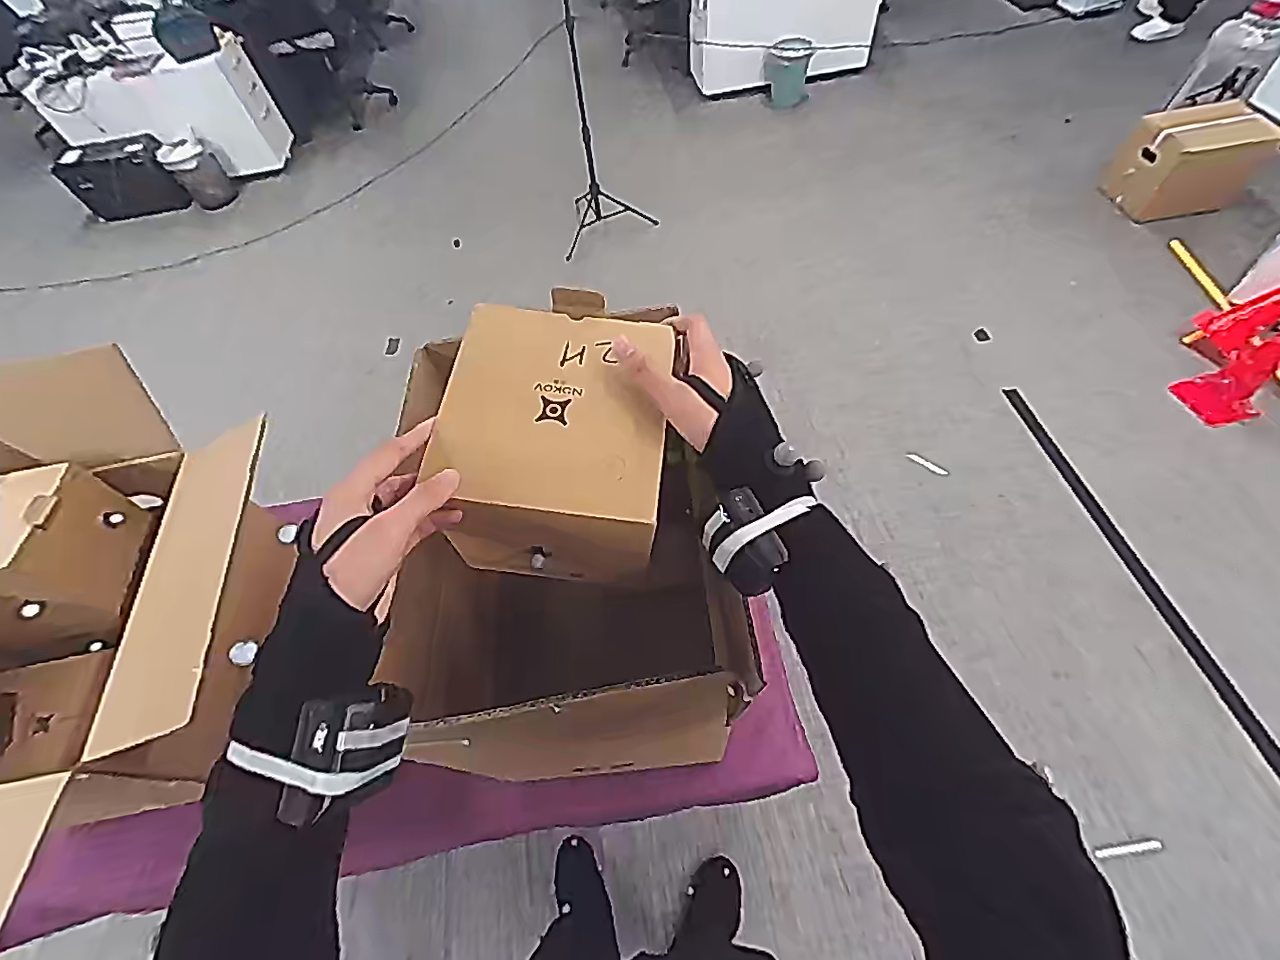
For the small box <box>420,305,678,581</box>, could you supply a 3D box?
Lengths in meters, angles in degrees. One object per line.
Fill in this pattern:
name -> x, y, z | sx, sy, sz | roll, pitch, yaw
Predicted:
small box -> -0.065, -0.021, 0.479 | 0.168, 0.176, 0.179 | 9, 63, 0
